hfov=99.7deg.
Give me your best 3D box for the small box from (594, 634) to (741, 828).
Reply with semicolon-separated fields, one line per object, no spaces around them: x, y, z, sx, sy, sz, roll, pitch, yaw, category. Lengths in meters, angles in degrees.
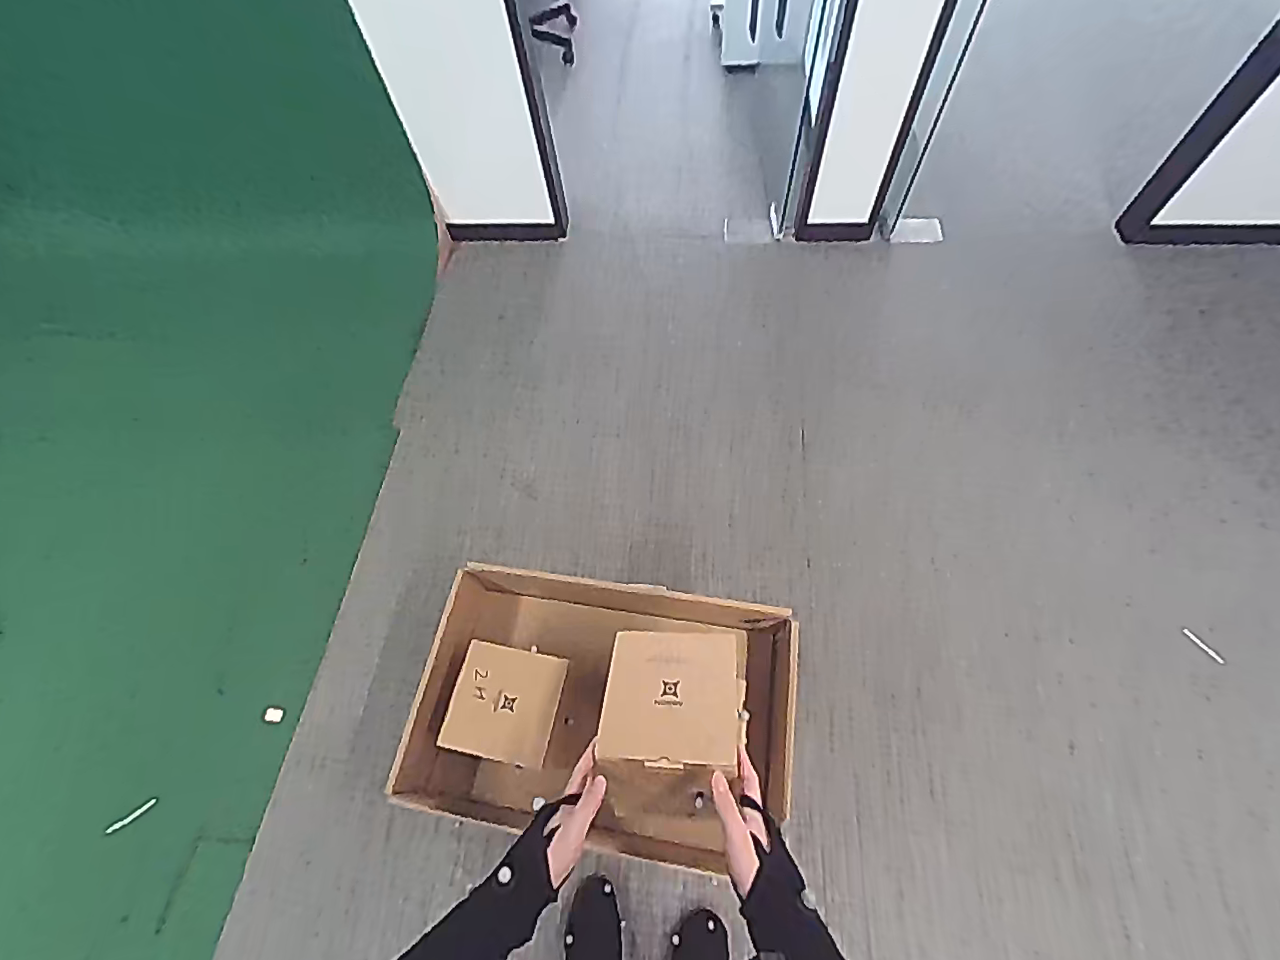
0.048;0.329;0.714;0.168;0.176;0.179;-1;36;11;small box
